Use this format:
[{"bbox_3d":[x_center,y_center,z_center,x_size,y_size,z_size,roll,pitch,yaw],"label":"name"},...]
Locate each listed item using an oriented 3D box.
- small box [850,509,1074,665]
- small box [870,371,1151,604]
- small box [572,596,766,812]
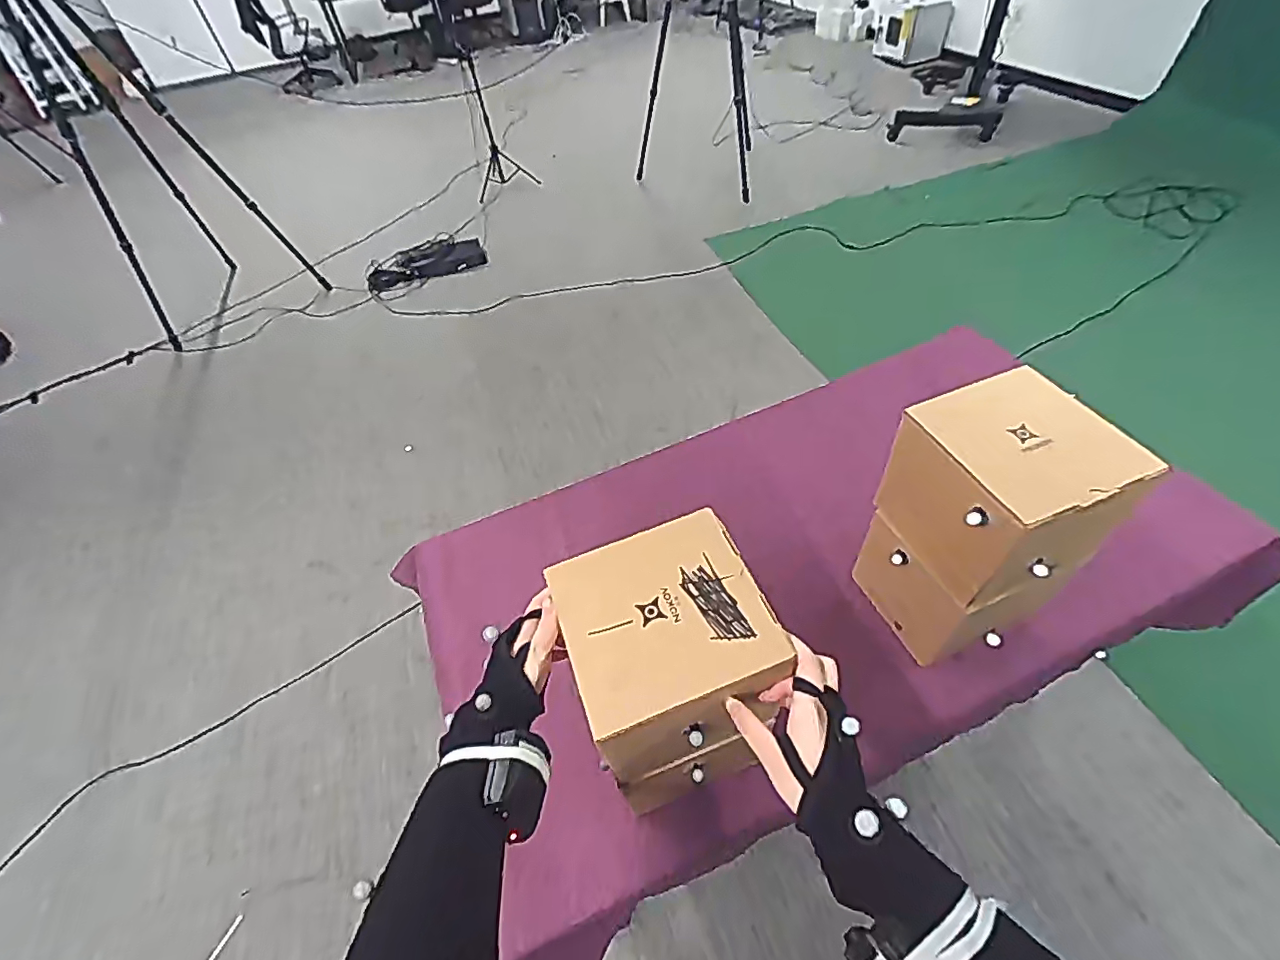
[{"bbox_3d":[0.418,0.122,0.739,0.179,0.176,0.168,-20,50,-10],"label":"small box"},{"bbox_3d":[0.396,0.010,0.622,0.168,0.176,0.179,-20,51,-9],"label":"small box"},{"bbox_3d":[0.035,0.277,0.659,0.179,0.176,0.168,-19,51,-9],"label":"small box"}]
